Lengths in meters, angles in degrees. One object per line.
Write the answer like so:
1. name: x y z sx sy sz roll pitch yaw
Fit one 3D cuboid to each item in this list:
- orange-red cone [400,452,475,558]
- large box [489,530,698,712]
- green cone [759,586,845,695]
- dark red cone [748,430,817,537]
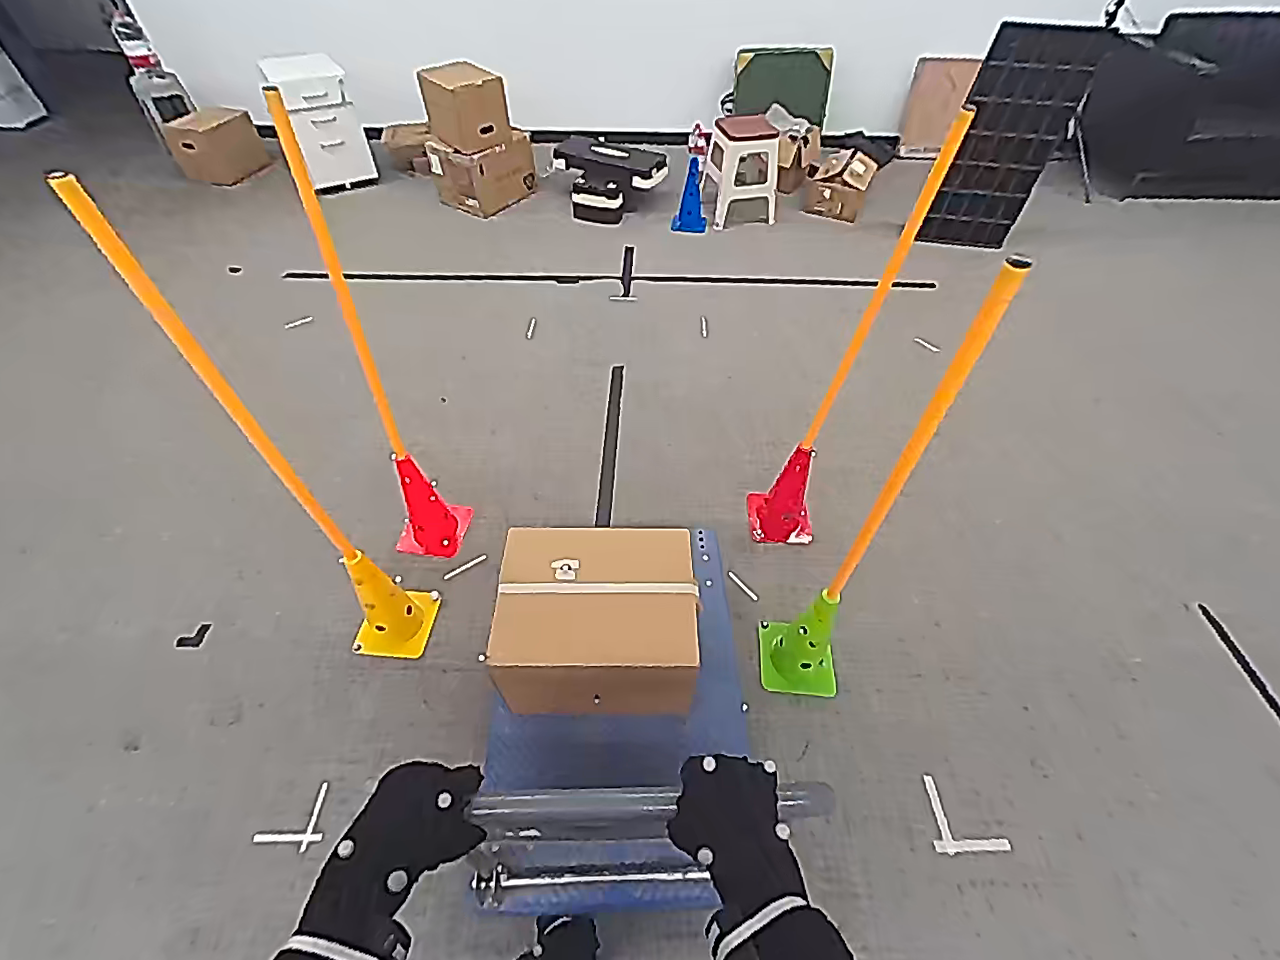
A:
1. orange-red cone: -0.659 0.049 1.647 0.198 0.360 0.199 8 49 5
2. large box: -0.087 0.326 1.228 0.408 0.320 0.320 0 50 1
3. green cone: 0.440 0.380 1.376 0.202 0.368 0.200 5 50 2
4. dark red cone: 0.474 0.000 1.676 0.201 0.394 0.202 3 50 -1
